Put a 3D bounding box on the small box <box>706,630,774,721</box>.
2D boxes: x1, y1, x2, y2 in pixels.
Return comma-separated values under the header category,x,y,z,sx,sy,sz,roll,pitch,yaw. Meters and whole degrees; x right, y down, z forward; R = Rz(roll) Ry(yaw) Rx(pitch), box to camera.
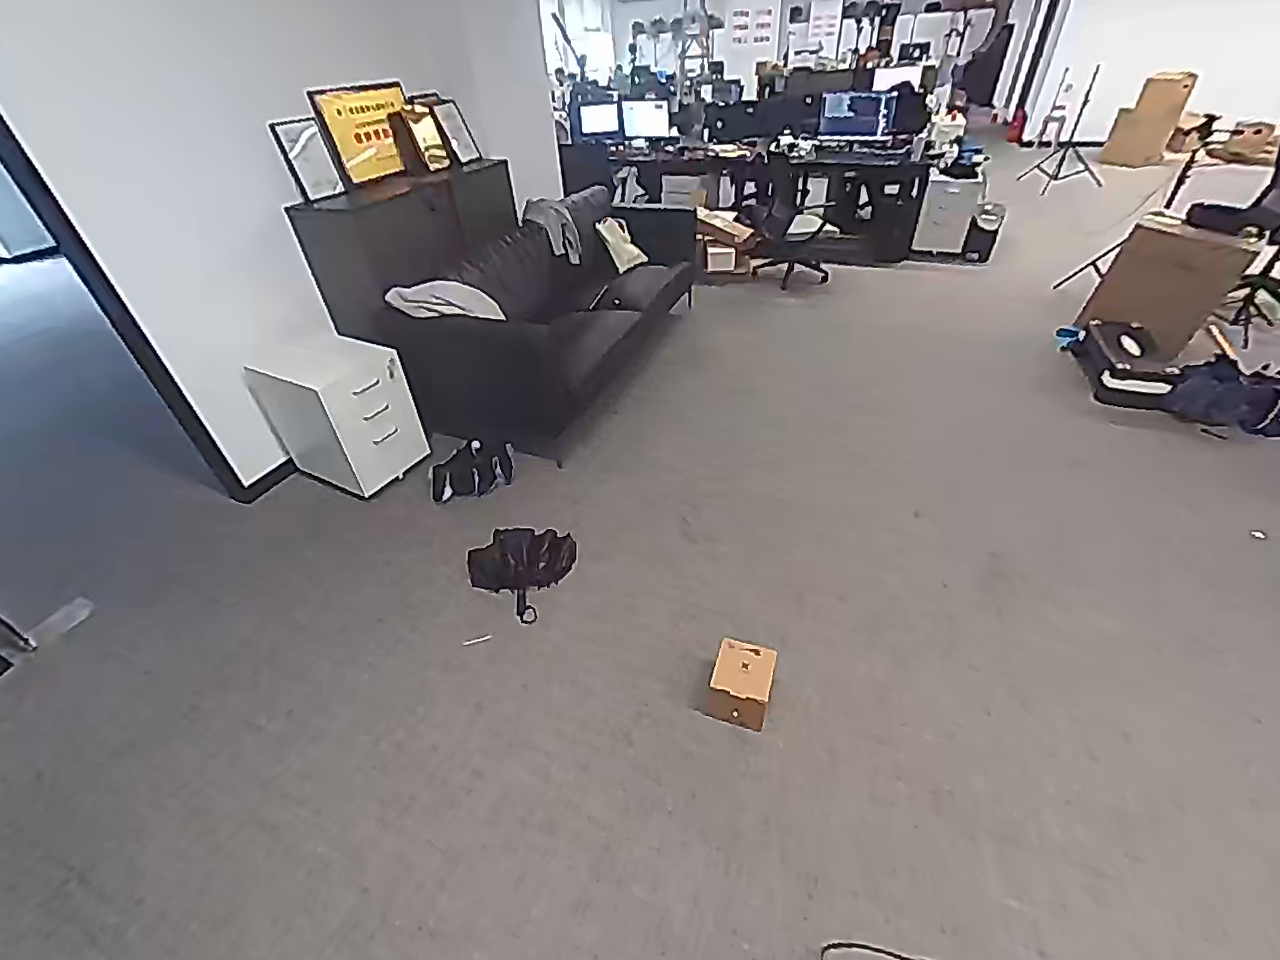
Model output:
category,x,y,z,sx,sy,sz,roll,pitch,yaw
small box,0.299,0.586,1.615,0.168,0.176,0.179,11,43,17
